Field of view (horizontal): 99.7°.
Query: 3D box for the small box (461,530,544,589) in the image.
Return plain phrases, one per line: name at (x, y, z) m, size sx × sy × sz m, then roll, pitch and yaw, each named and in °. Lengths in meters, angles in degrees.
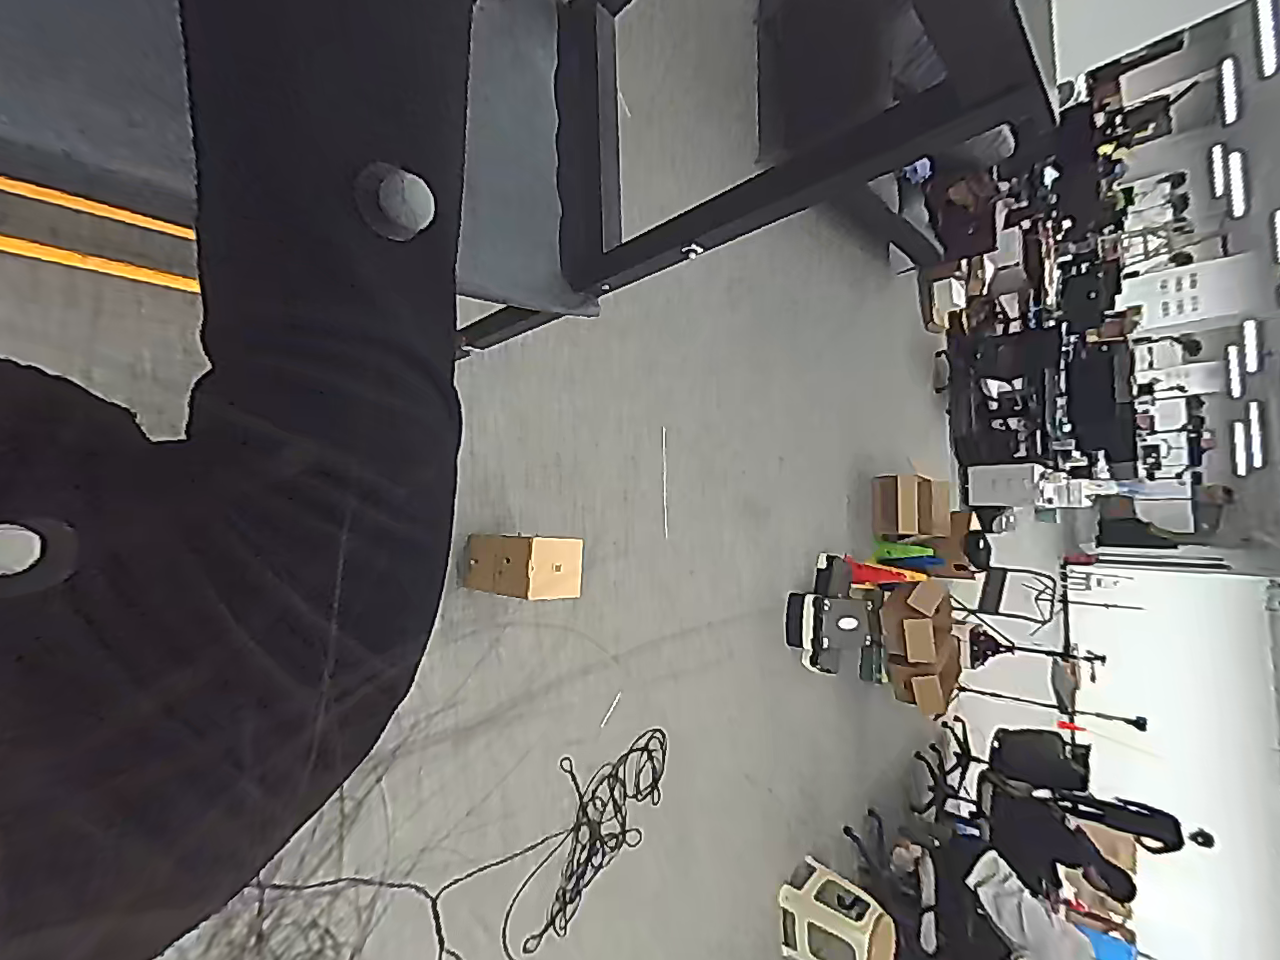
small box at (-0.415, 0.239, 1.640) m, size 0.179 × 0.176 × 0.168 m, roll 10°, pitch 80°, yaw -45°
